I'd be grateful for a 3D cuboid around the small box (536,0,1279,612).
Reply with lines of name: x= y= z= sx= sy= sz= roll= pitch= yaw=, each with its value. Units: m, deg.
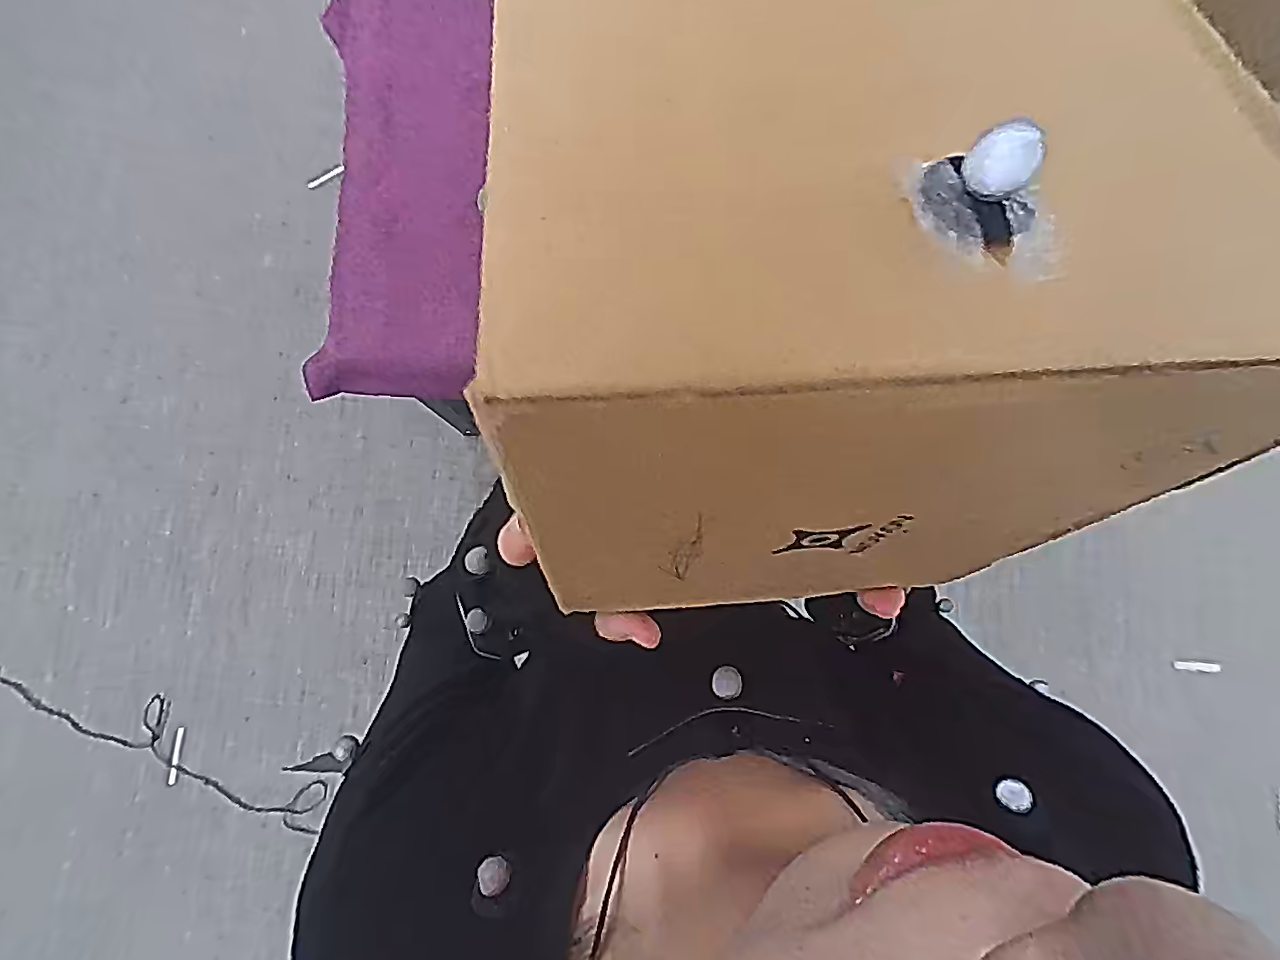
small box: x=0.060 y=-0.060 z=0.181 sx=0.179 sy=0.168 sz=0.176 roll=-2 pitch=65 yaw=-4
